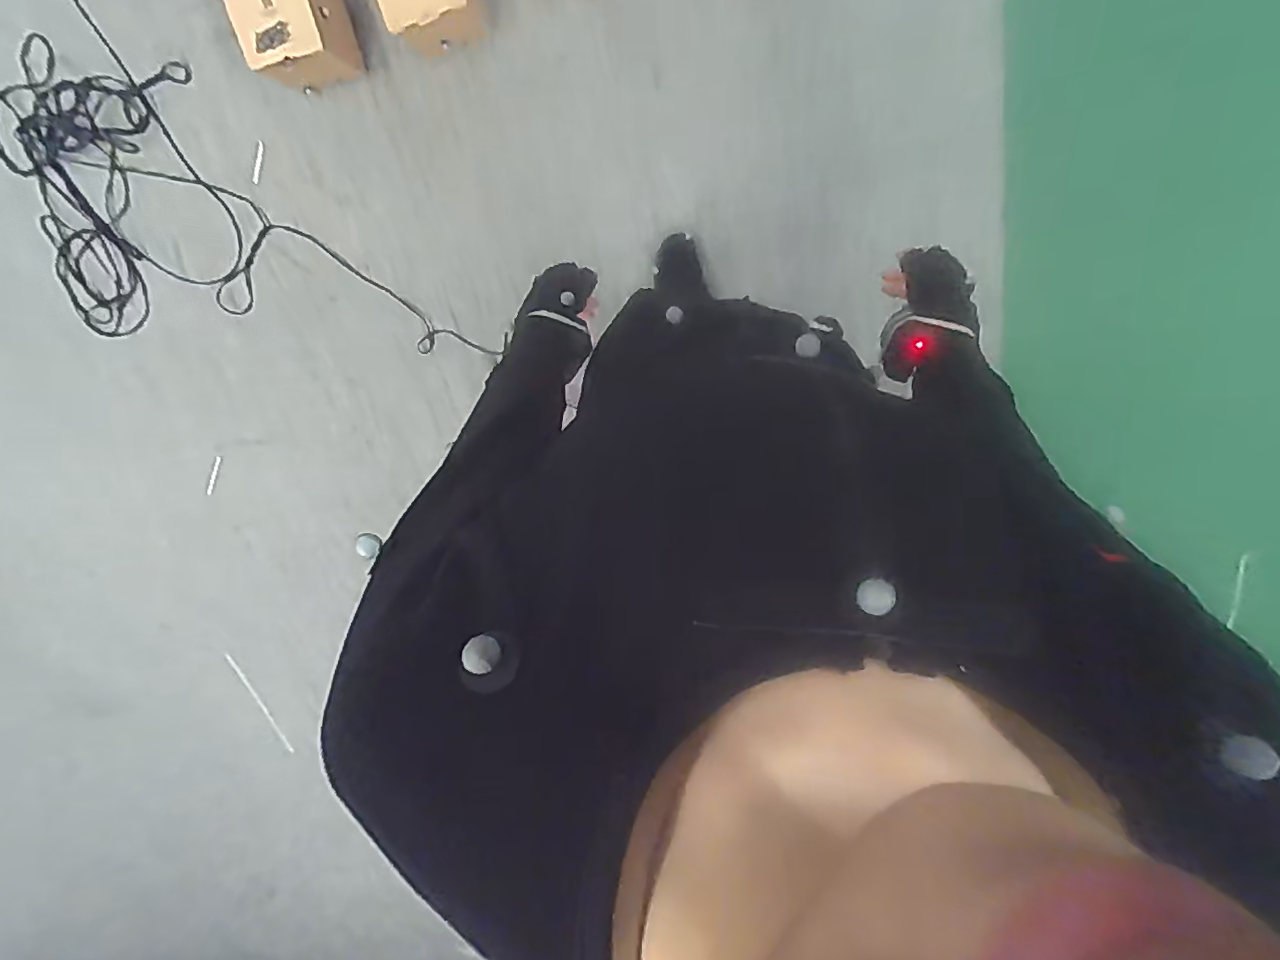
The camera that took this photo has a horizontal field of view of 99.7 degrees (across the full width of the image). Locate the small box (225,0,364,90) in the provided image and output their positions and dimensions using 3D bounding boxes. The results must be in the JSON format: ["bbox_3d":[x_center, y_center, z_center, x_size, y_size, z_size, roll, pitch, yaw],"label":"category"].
[{"bbox_3d":[-0.705,-0.933,1.111,0.168,0.176,0.179,-9,110,7],"label":"small box"}]

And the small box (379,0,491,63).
[{"bbox_3d":[-0.421,-0.982,1.077,0.168,0.176,0.179,-13,111,9],"label":"small box"}]
